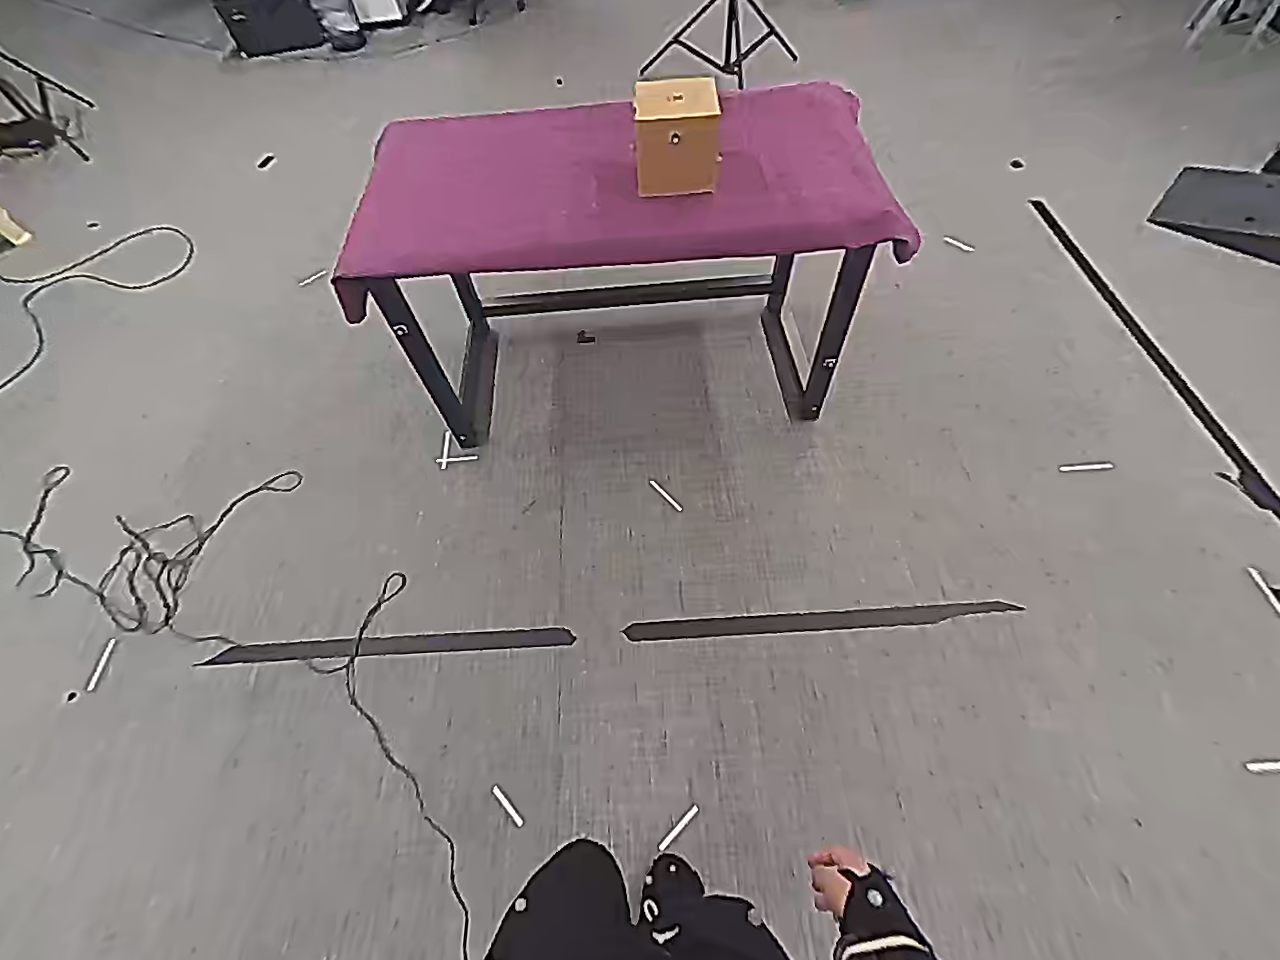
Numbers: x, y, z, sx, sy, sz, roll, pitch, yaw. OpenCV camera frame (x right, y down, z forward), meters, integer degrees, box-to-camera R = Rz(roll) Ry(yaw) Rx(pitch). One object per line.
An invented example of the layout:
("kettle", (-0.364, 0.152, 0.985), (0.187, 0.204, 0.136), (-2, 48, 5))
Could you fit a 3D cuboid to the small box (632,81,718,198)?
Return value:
("small box", (0.076, -0.757, 1.211), (0.179, 0.176, 0.168), (-3, 59, 2))
